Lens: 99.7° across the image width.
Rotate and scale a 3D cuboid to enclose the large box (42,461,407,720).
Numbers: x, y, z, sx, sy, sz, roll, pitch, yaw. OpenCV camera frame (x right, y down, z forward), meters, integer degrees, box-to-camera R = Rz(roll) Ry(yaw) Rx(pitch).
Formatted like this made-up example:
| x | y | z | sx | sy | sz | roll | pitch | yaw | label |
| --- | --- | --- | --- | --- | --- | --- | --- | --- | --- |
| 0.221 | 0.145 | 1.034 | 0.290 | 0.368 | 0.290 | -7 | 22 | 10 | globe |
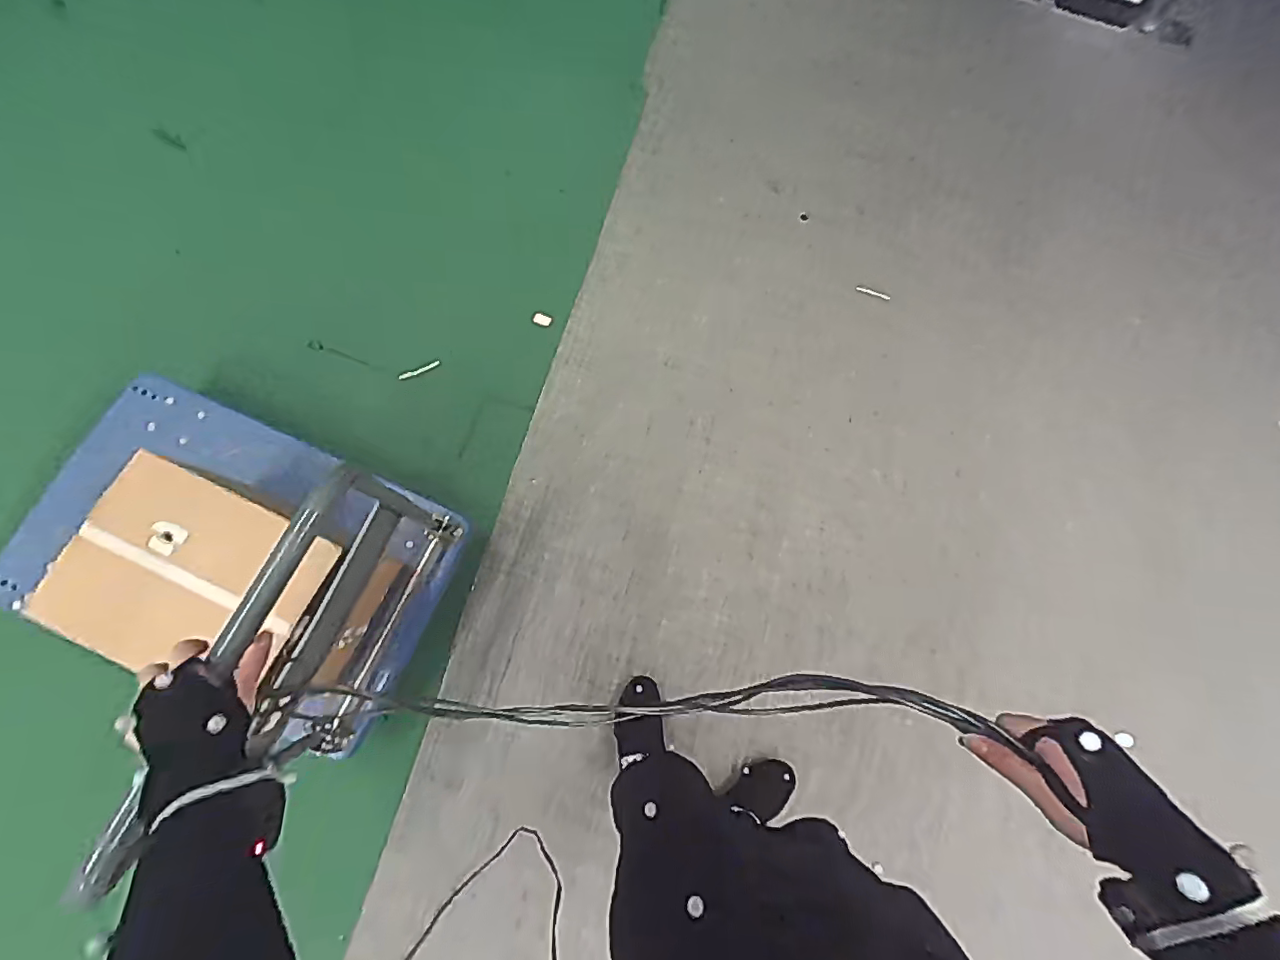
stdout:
| x | y | z | sx | sy | sz | roll | pitch | yaw | label |
| --- | --- | --- | --- | --- | --- | --- | --- | --- | --- |
| -0.759 | 0.212 | 1.066 | 0.408 | 0.320 | 0.320 | 26 | 76 | 3 | large box |
